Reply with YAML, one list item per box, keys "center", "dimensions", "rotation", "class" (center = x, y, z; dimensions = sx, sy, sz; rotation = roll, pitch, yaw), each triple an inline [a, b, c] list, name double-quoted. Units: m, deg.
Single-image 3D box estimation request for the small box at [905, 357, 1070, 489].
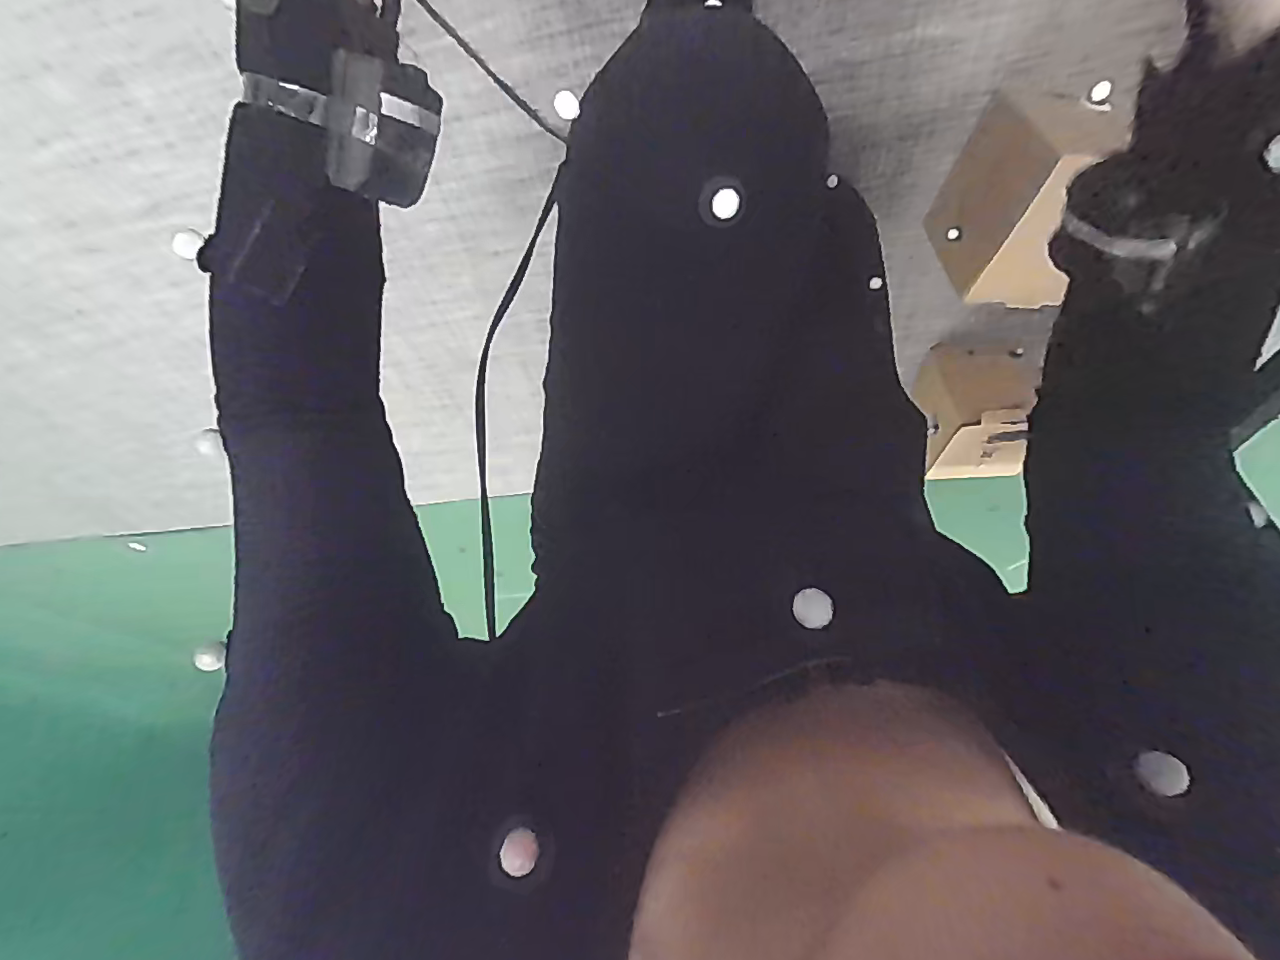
- center: [0.594, -0.104, 0.955]
  dimensions: [0.168, 0.176, 0.179]
  rotation: [-2, 147, 5]
  class: "small box"
